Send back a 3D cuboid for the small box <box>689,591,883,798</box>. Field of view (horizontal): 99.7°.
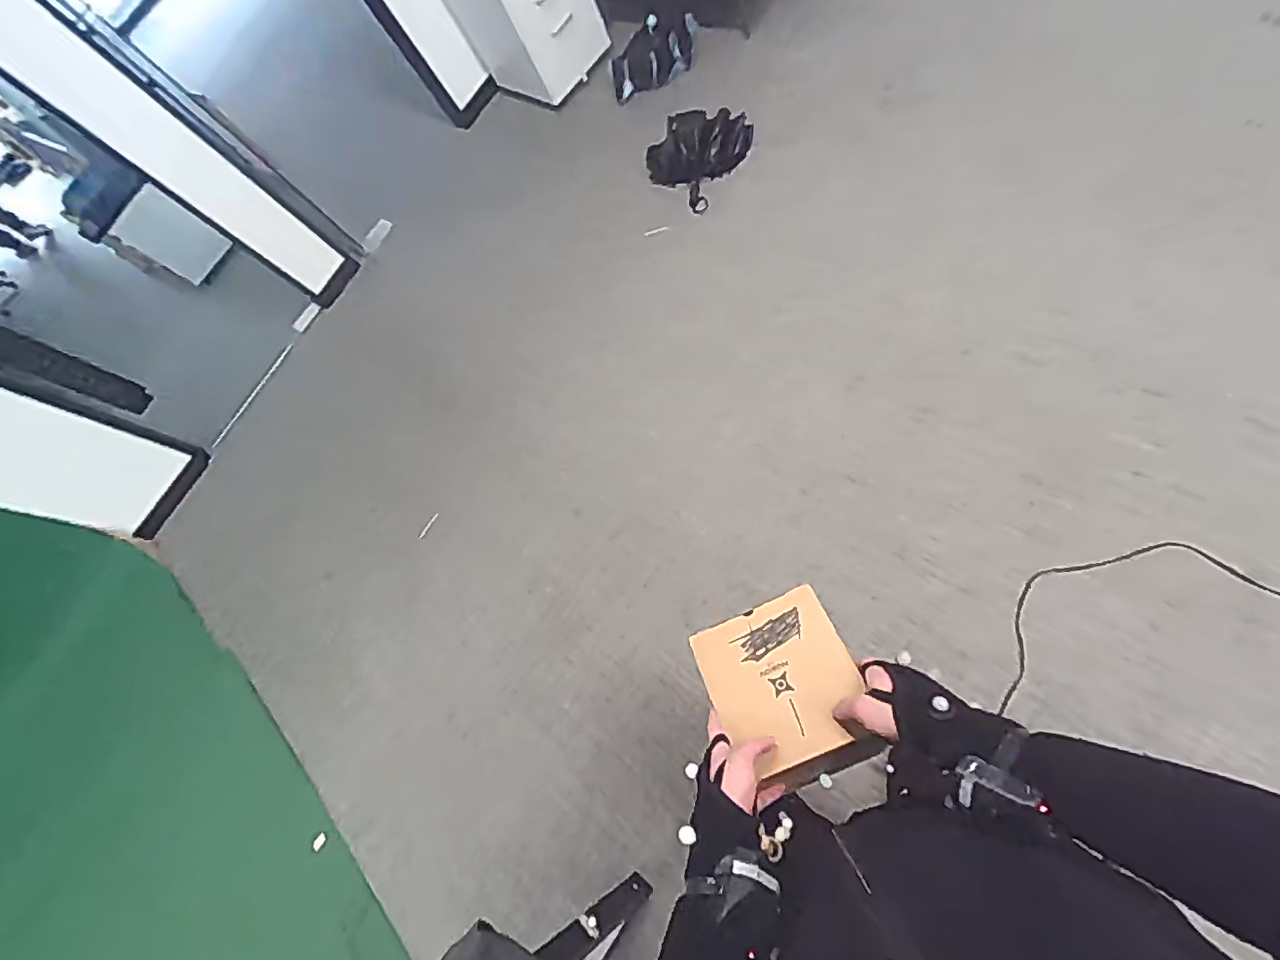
[{"bbox_3d":[0.184,0.276,0.684,0.168,0.176,0.179,-27,50,7],"label":"small box"}]
